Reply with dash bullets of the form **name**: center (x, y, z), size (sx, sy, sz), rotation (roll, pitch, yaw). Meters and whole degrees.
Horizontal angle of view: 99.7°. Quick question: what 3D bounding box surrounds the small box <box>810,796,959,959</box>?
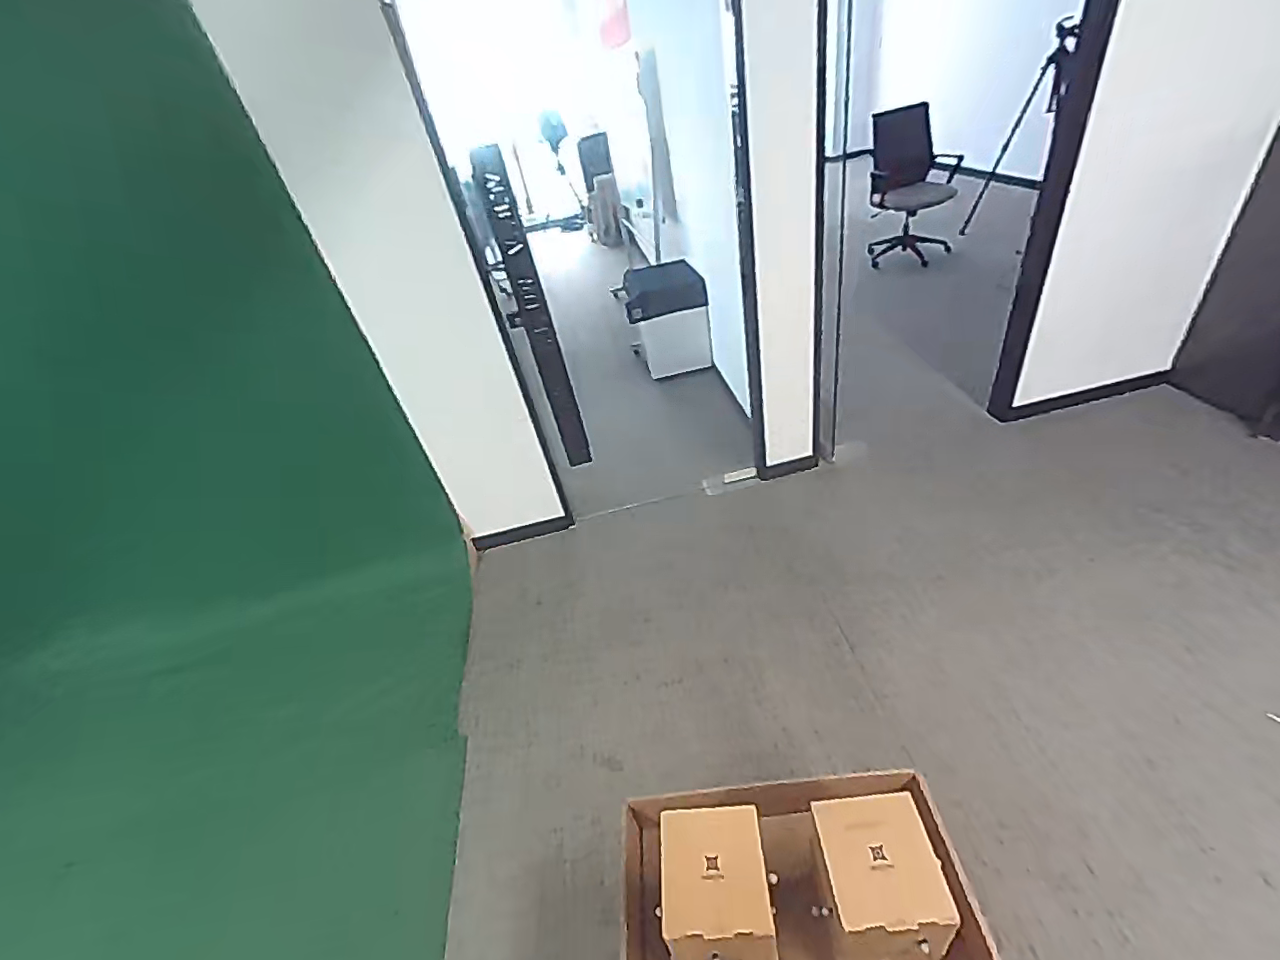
- **small box**: center (0.376, 0.639, 0.865), size (0.168, 0.176, 0.179), rotation (-8, 36, 5)

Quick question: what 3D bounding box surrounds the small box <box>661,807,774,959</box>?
- **small box**: center (0.124, 0.675, 0.897), size (0.168, 0.176, 0.179), rotation (-7, 37, 6)
